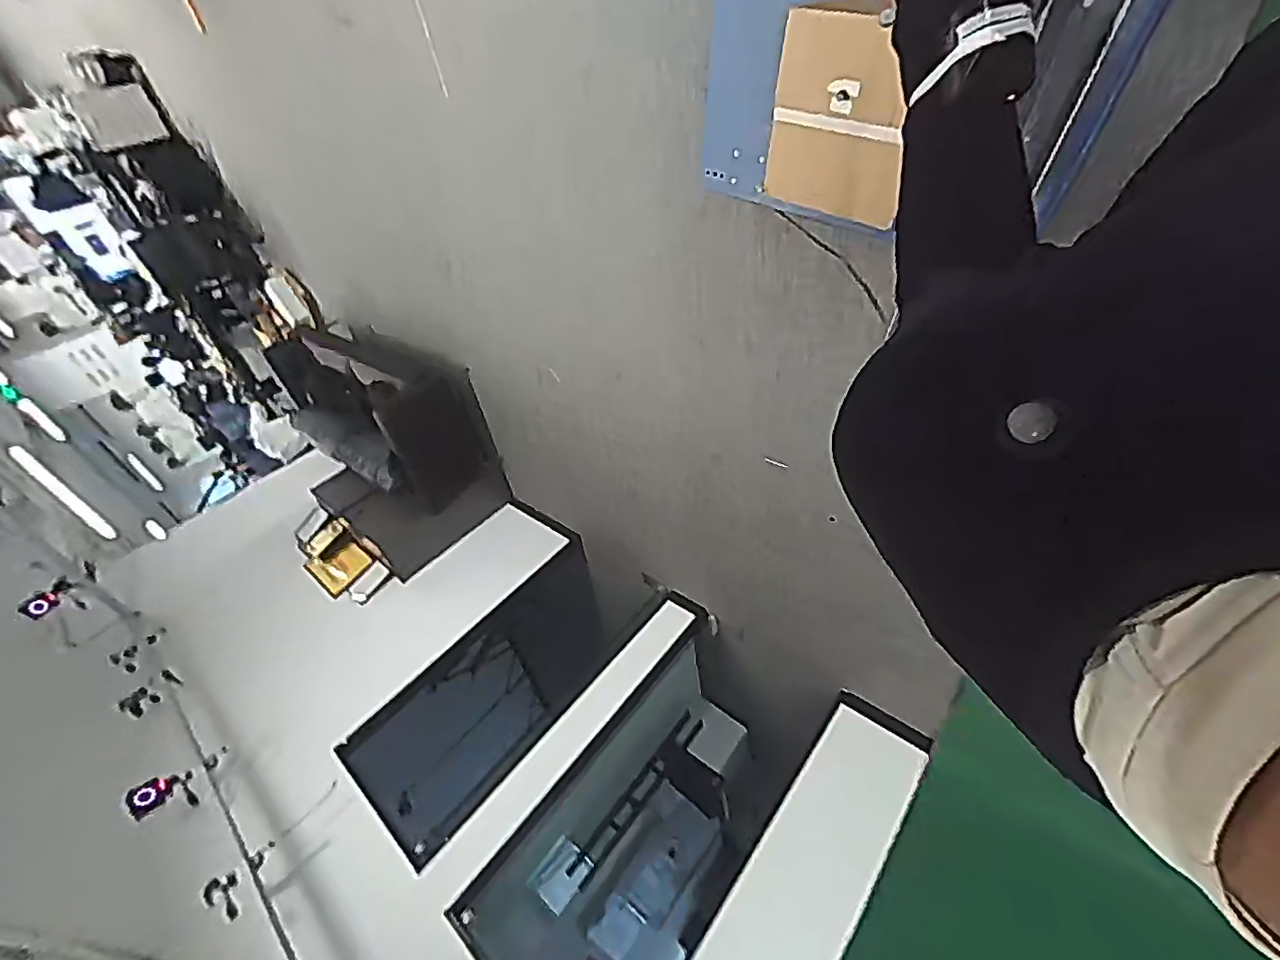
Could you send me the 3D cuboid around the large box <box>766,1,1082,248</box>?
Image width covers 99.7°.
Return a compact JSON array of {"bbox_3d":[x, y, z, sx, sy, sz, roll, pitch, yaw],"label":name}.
[{"bbox_3d":[0.517,-0.700,1.045,0.408,0.320,0.320,33,144,27],"label":"large box"}]
